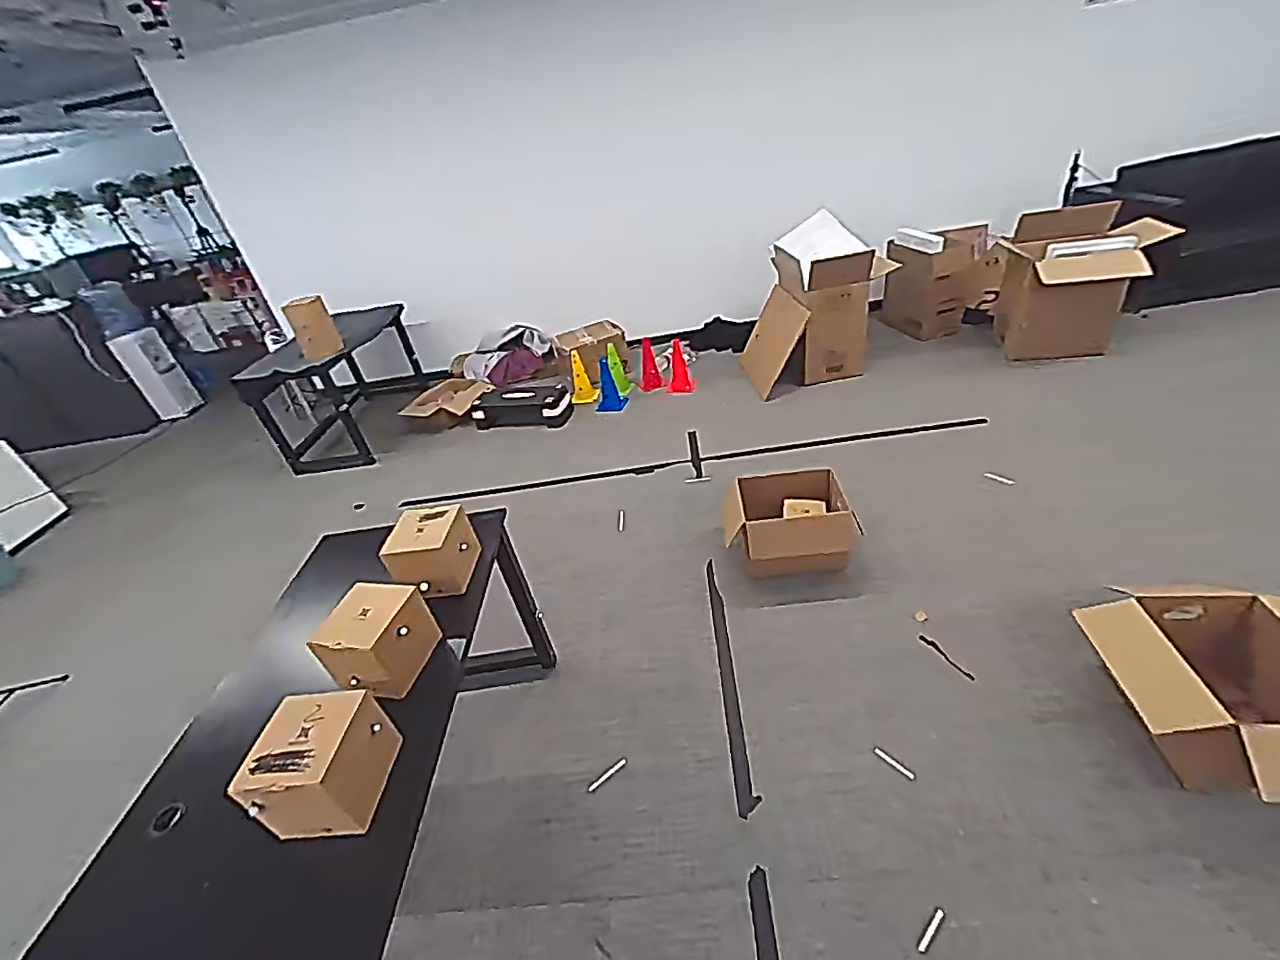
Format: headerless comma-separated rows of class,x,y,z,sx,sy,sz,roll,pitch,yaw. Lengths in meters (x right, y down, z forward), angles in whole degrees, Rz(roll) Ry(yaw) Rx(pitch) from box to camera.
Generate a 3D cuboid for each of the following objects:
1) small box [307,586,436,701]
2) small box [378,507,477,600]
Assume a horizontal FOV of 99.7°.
small box,-0.582,0.360,1.204,0.168,0.176,0.179,-2,36,16
small box,-0.549,0.195,1.429,0.168,0.176,0.179,-8,35,7
